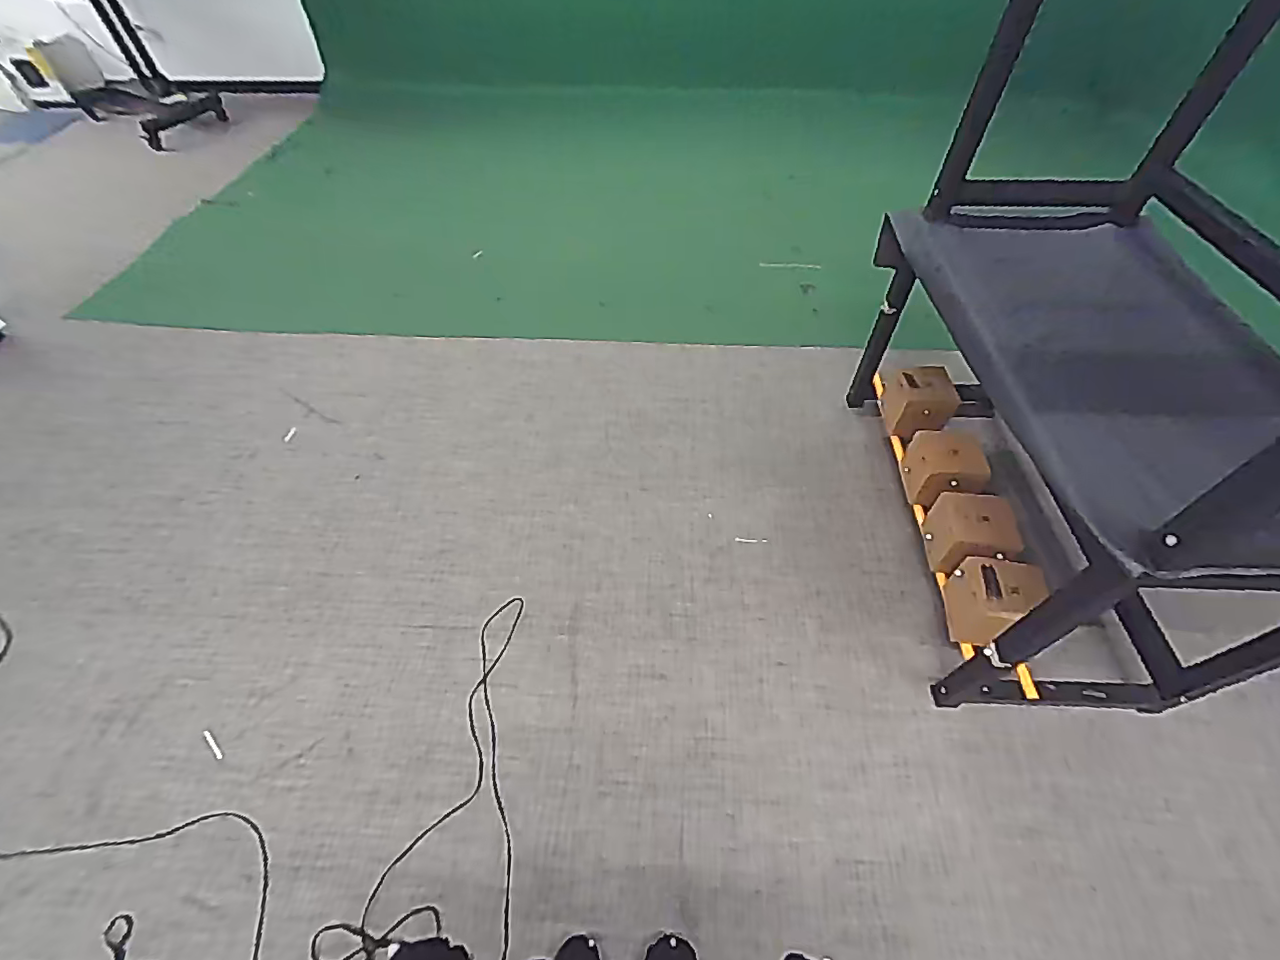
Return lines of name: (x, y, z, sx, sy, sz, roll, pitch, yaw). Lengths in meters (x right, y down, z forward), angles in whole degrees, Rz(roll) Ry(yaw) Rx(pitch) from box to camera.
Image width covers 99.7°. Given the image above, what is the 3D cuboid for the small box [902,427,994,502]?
small box: (0.937, -0.046, 1.660, 0.179, 0.176, 0.168, 1, 53, 5)
